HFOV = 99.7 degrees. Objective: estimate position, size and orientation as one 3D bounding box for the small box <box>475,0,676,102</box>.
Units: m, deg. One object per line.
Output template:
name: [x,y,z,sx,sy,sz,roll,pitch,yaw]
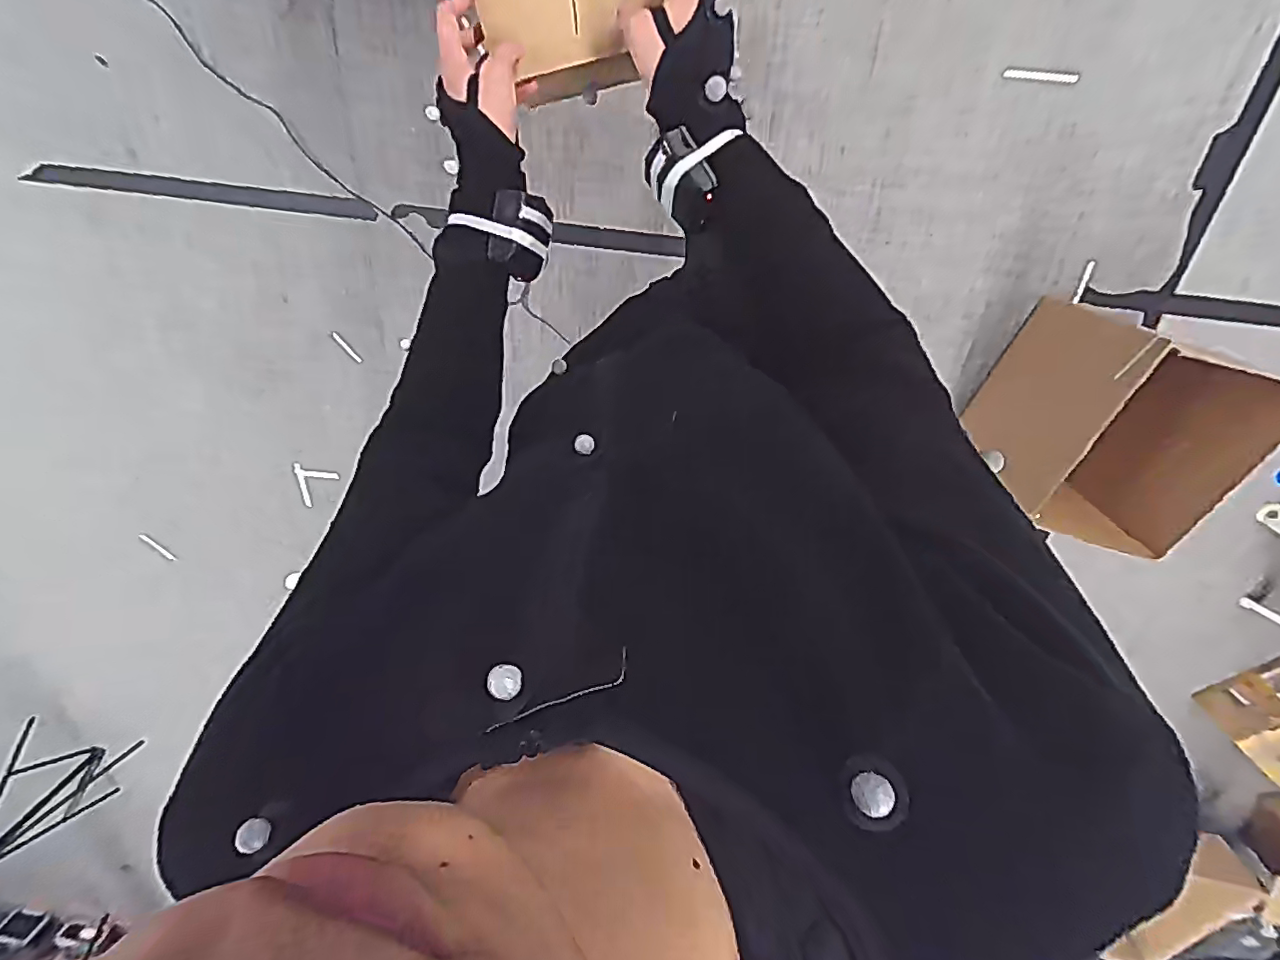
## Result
small box: [-0.066,-0.479,0.498,0.168,0.176,0.179,-11,118,5]
